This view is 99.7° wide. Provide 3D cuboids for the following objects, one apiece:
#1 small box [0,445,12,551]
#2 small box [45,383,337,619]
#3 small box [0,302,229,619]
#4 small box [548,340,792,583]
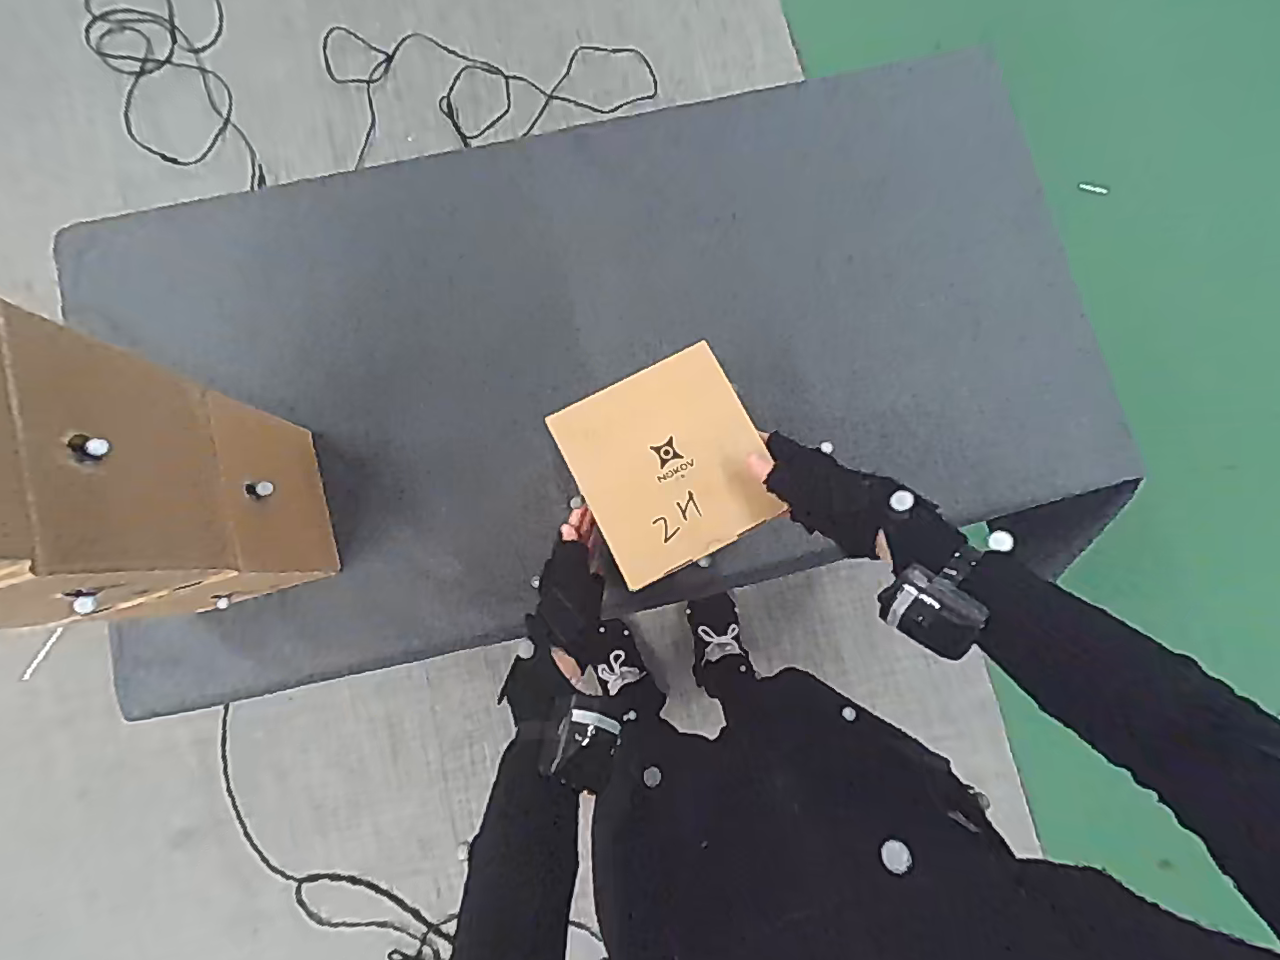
[{"bbox_3d":[-0.437,-0.029,0.225,0.168,0.176,0.179,-17,83,-5],"label":"small box"},{"bbox_3d":[-0.443,0.026,0.547,0.168,0.176,0.179,-16,83,-3],"label":"small box"},{"bbox_3d":[-0.439,0.001,0.386,0.168,0.176,0.179,-15,82,-4],"label":"small box"},{"bbox_3d":[0.024,-0.008,0.557,0.168,0.176,0.179,-26,83,-4],"label":"small box"}]
